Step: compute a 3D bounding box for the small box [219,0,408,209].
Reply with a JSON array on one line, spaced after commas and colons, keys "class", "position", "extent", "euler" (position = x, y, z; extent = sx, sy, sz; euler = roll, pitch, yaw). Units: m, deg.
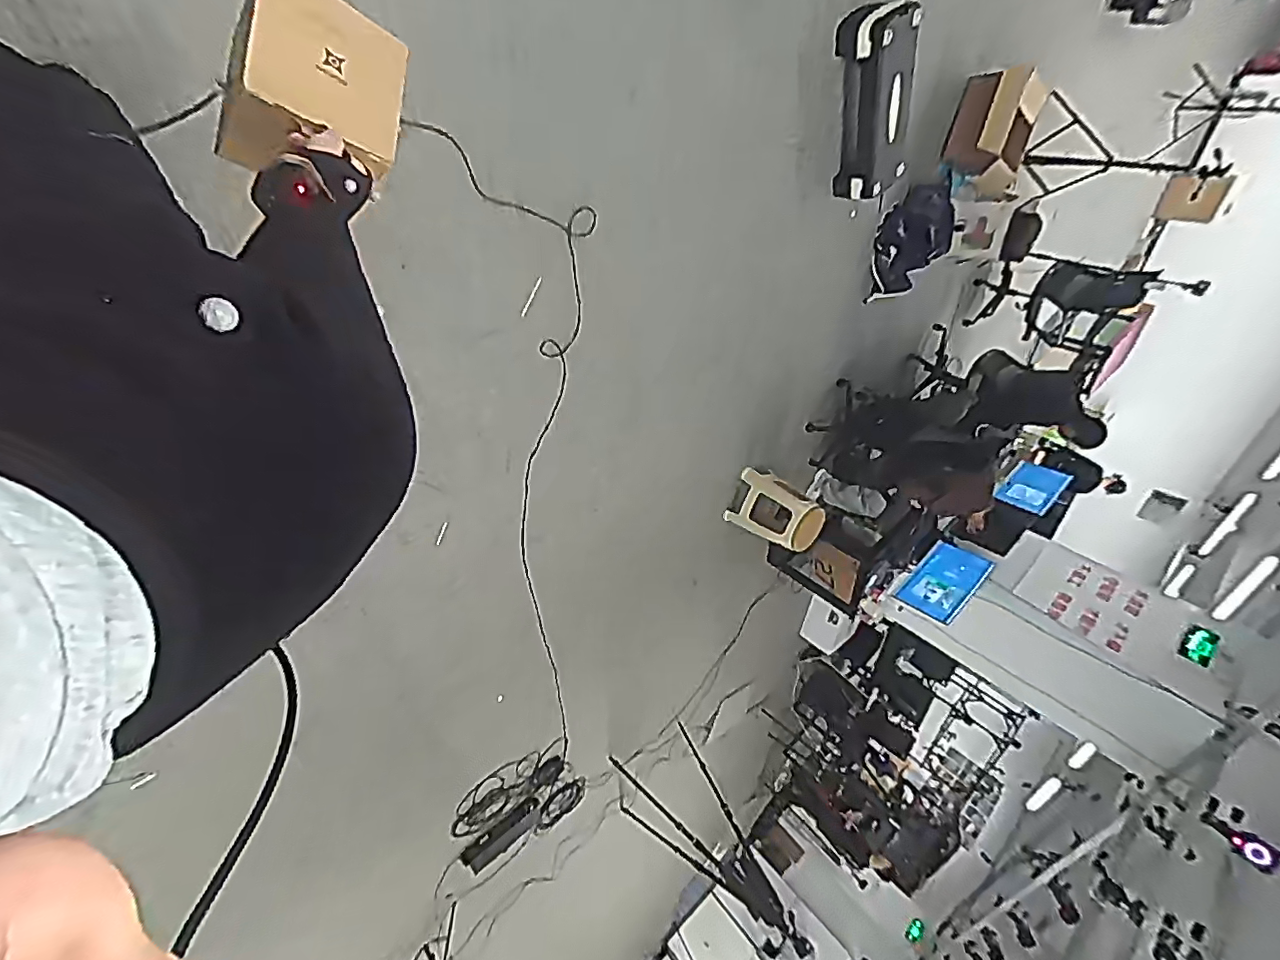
[{"class": "small box", "position": [-0.427, -0.491, 0.706], "extent": [0.168, 0.176, 0.179], "euler": [8, 82, -47]}]
